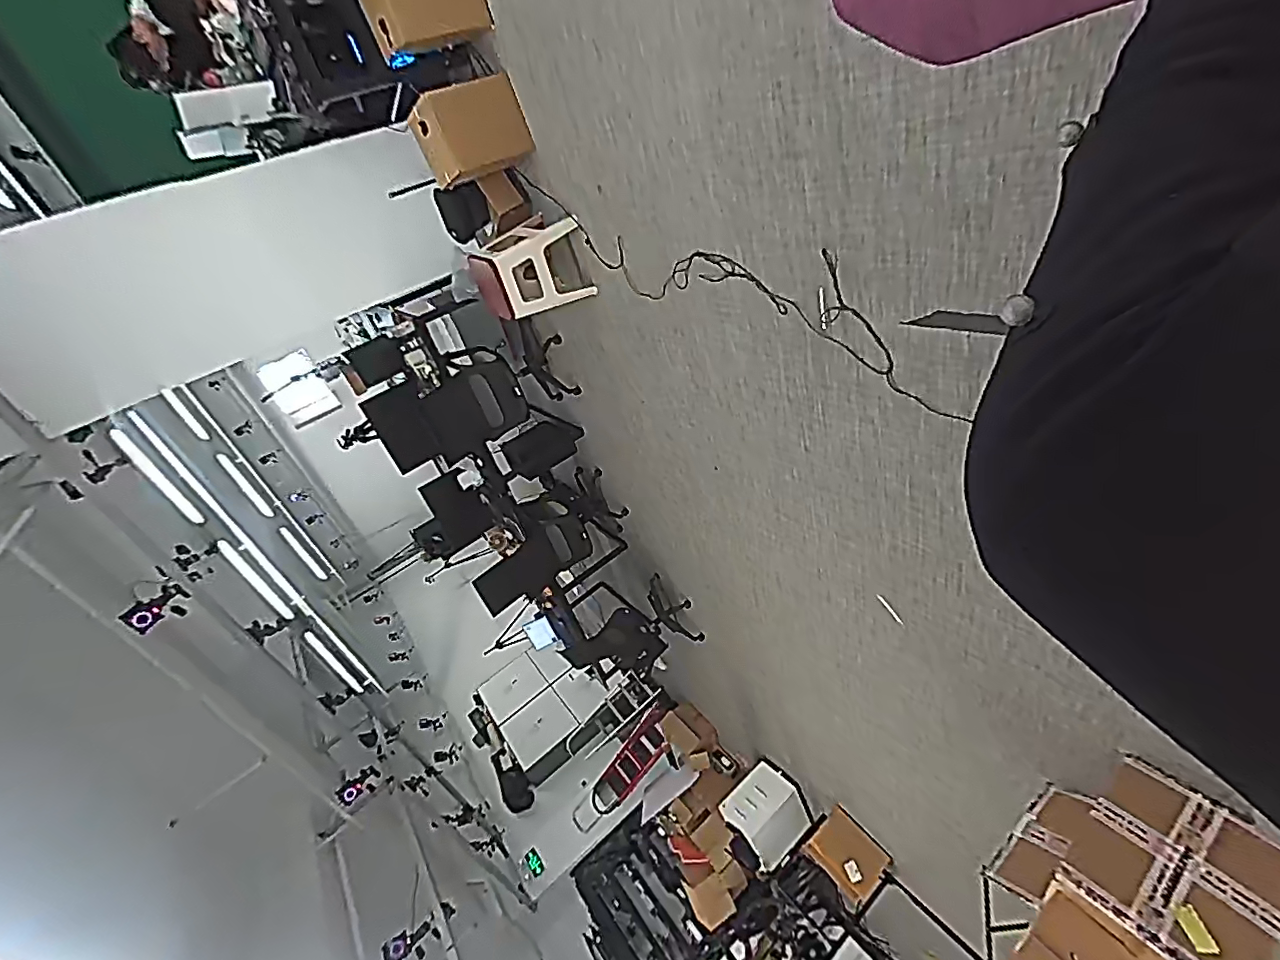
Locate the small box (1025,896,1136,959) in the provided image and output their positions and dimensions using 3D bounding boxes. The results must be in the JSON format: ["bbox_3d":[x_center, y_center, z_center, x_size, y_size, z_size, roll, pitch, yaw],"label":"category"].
[{"bbox_3d":[1.237,1.330,1.520,0.179,0.176,0.168,36,149,45],"label":"small box"}]
